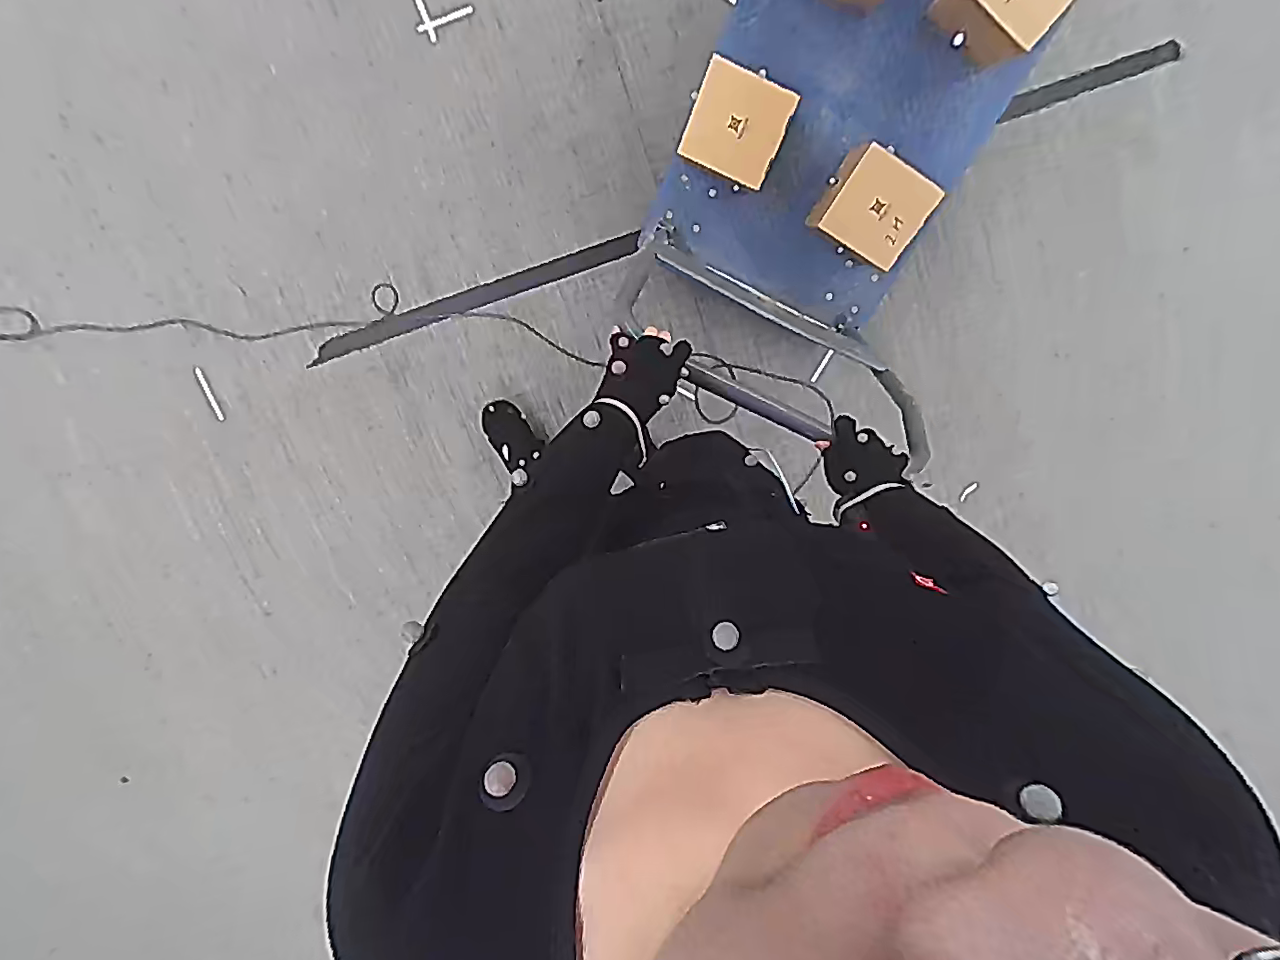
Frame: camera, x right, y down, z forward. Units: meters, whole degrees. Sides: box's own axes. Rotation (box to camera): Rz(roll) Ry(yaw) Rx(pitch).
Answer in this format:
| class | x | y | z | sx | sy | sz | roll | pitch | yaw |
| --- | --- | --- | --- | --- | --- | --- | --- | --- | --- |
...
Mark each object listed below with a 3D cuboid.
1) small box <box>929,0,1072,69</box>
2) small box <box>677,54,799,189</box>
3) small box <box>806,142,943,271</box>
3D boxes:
| class | x | y | z | sx | sy | sz | roll | pitch | yaw |
| --- | --- | --- | --- | --- | --- | --- | --- | --- | --- |
| small box | 0.646 | -0.864 | 0.935 | 0.168 | 0.176 | 0.179 | 34 | 116 | -12 |
| small box | 0.184 | -0.694 | 1.070 | 0.179 | 0.176 | 0.168 | 21 | 117 | -7 |
| small box | 0.467 | -0.556 | 1.111 | 0.179 | 0.176 | 0.168 | 29 | 117 | -9 |
